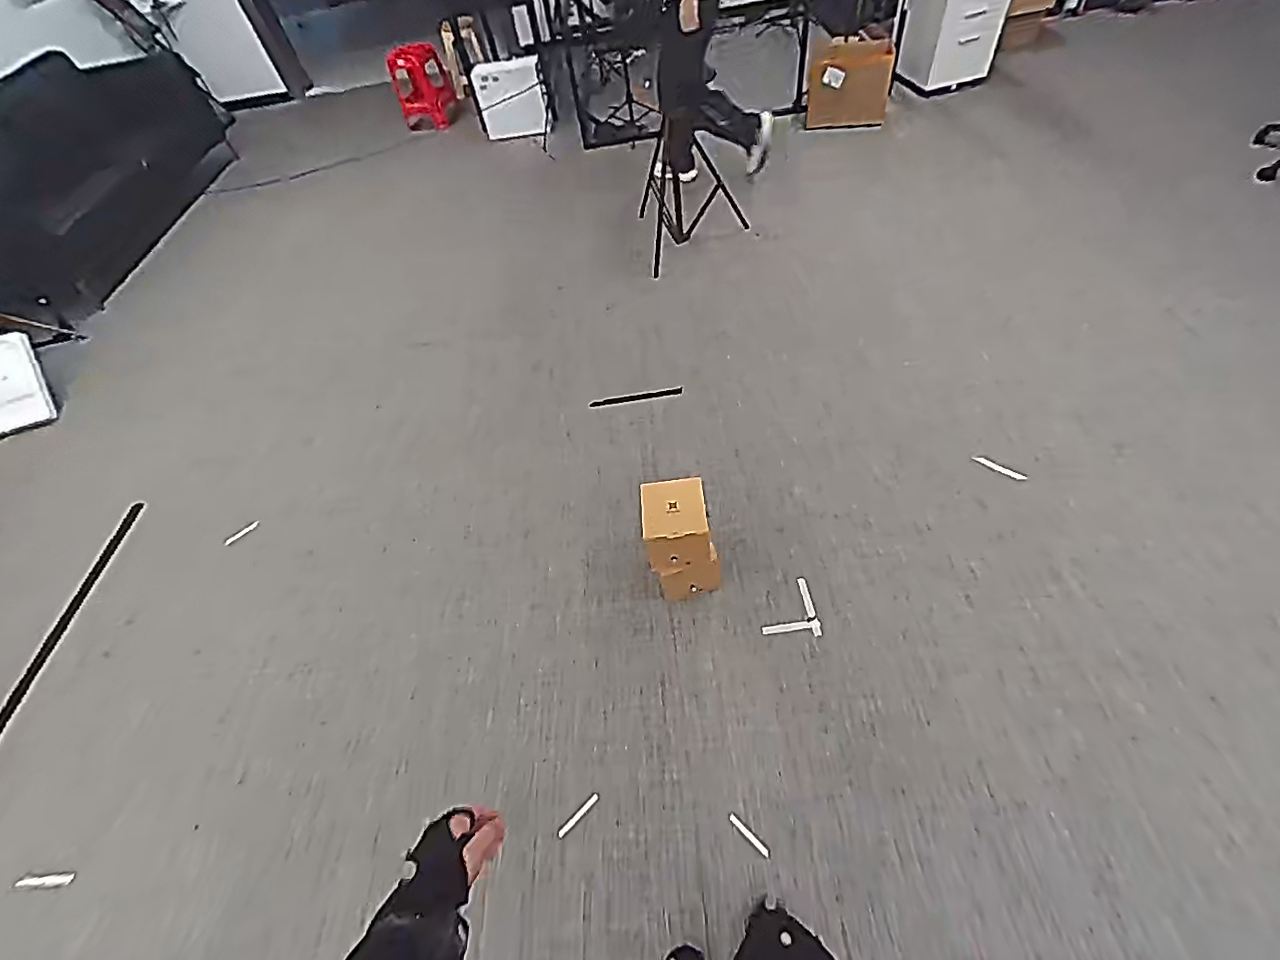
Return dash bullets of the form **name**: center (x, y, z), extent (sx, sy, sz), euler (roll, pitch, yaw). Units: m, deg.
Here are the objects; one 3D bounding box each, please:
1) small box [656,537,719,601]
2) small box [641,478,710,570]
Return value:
- **small box**: center (0.123, 0.223, 1.572), extent (0.168, 0.176, 0.179), euler (-17, 52, -3)
- **small box**: center (0.095, 0.120, 1.448), extent (0.168, 0.176, 0.179), euler (-7, 52, 4)
